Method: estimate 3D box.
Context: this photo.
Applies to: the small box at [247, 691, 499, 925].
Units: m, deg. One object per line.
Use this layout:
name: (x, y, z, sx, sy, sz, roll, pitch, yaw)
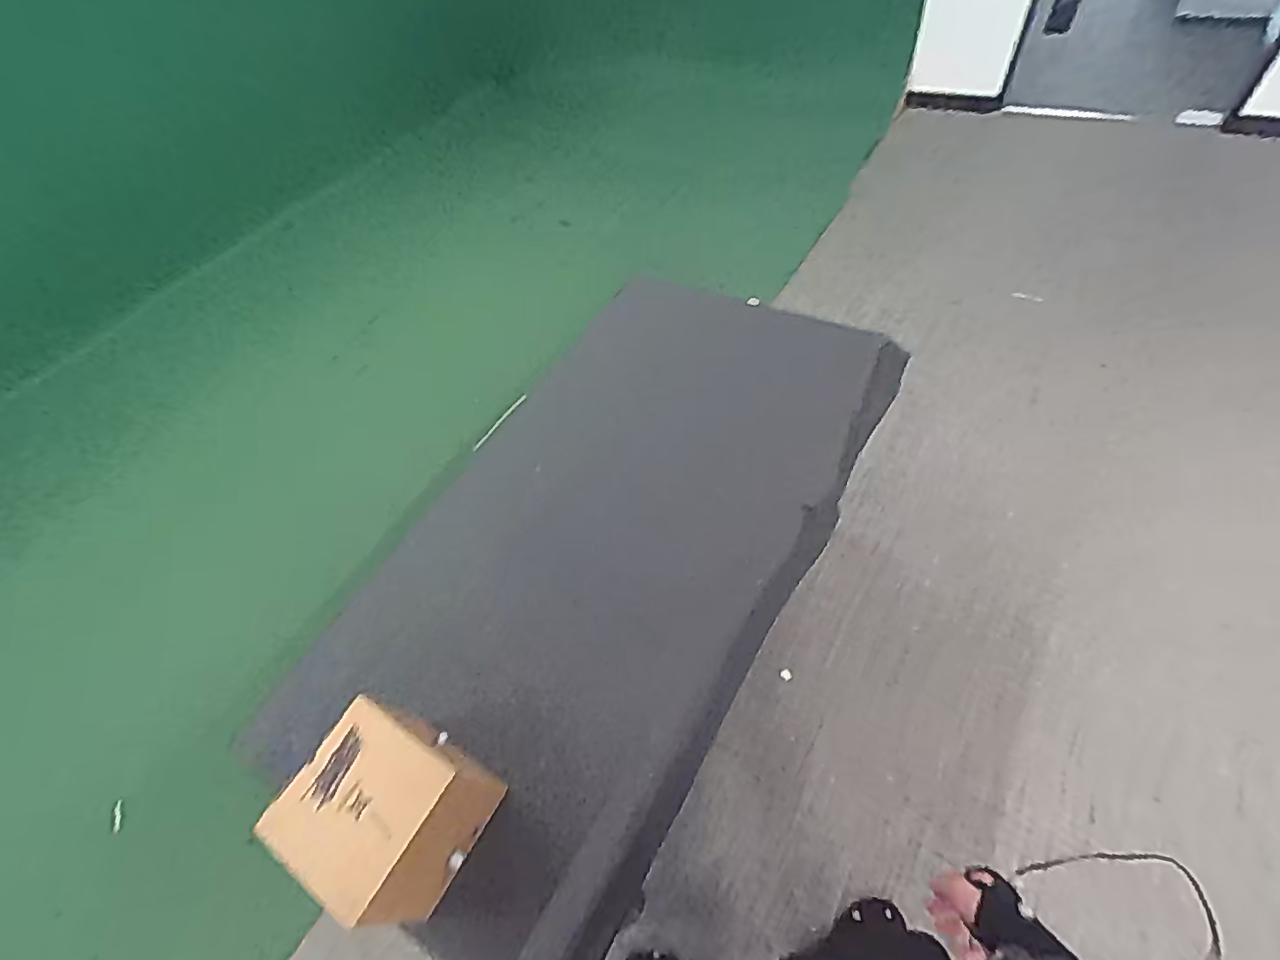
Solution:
small box: (-0.308, 0.393, 0.657, 0.179, 0.176, 0.168, 22, 62, 24)
